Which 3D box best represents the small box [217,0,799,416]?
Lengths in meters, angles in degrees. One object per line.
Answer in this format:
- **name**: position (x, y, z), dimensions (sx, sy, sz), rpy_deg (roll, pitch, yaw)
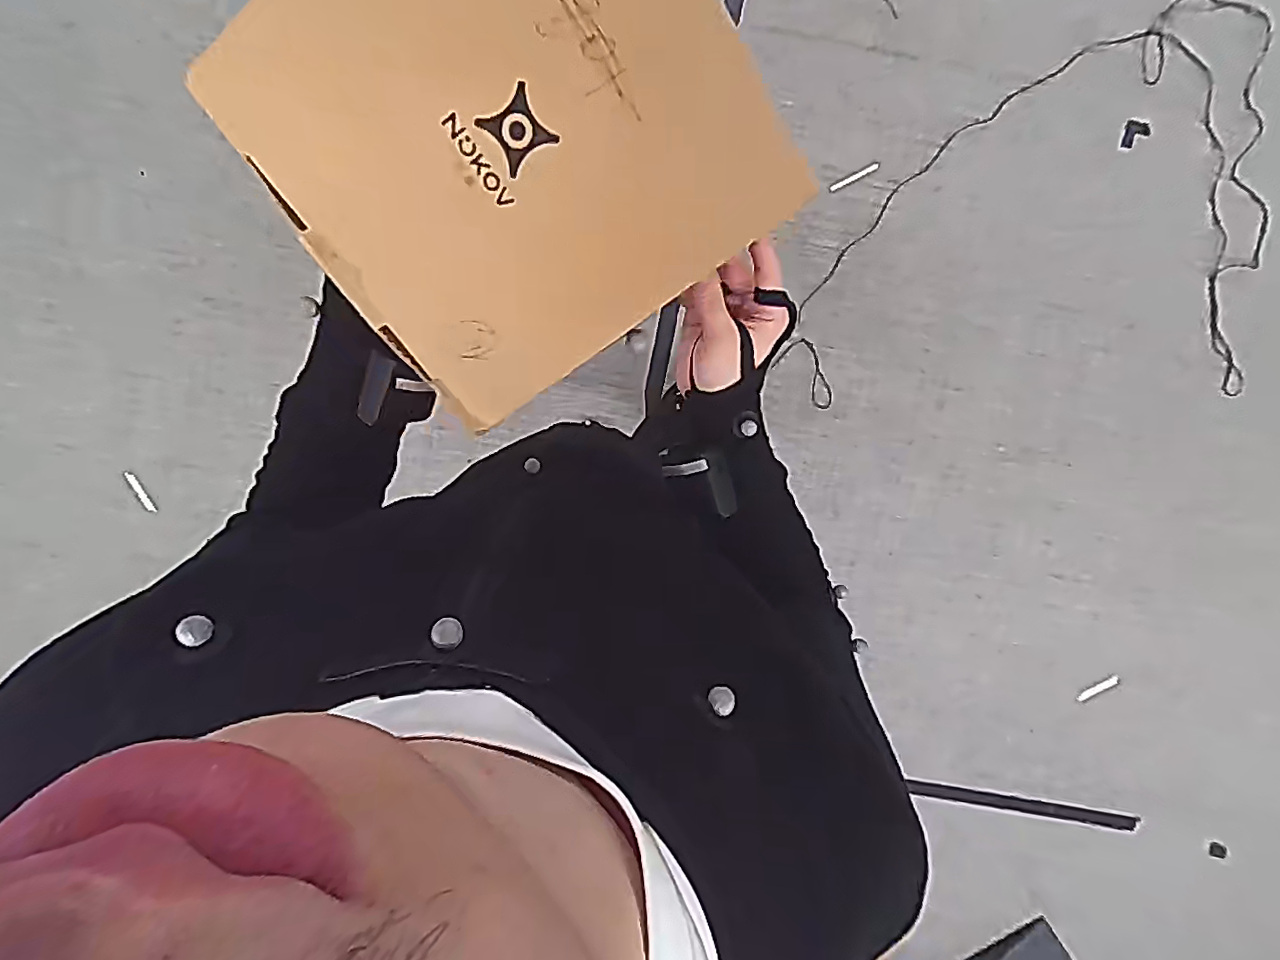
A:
- **small box**: position (-0.050, -0.162, 0.290), dimensions (0.179, 0.176, 0.168), rpy_deg (-35, 107, 10)
